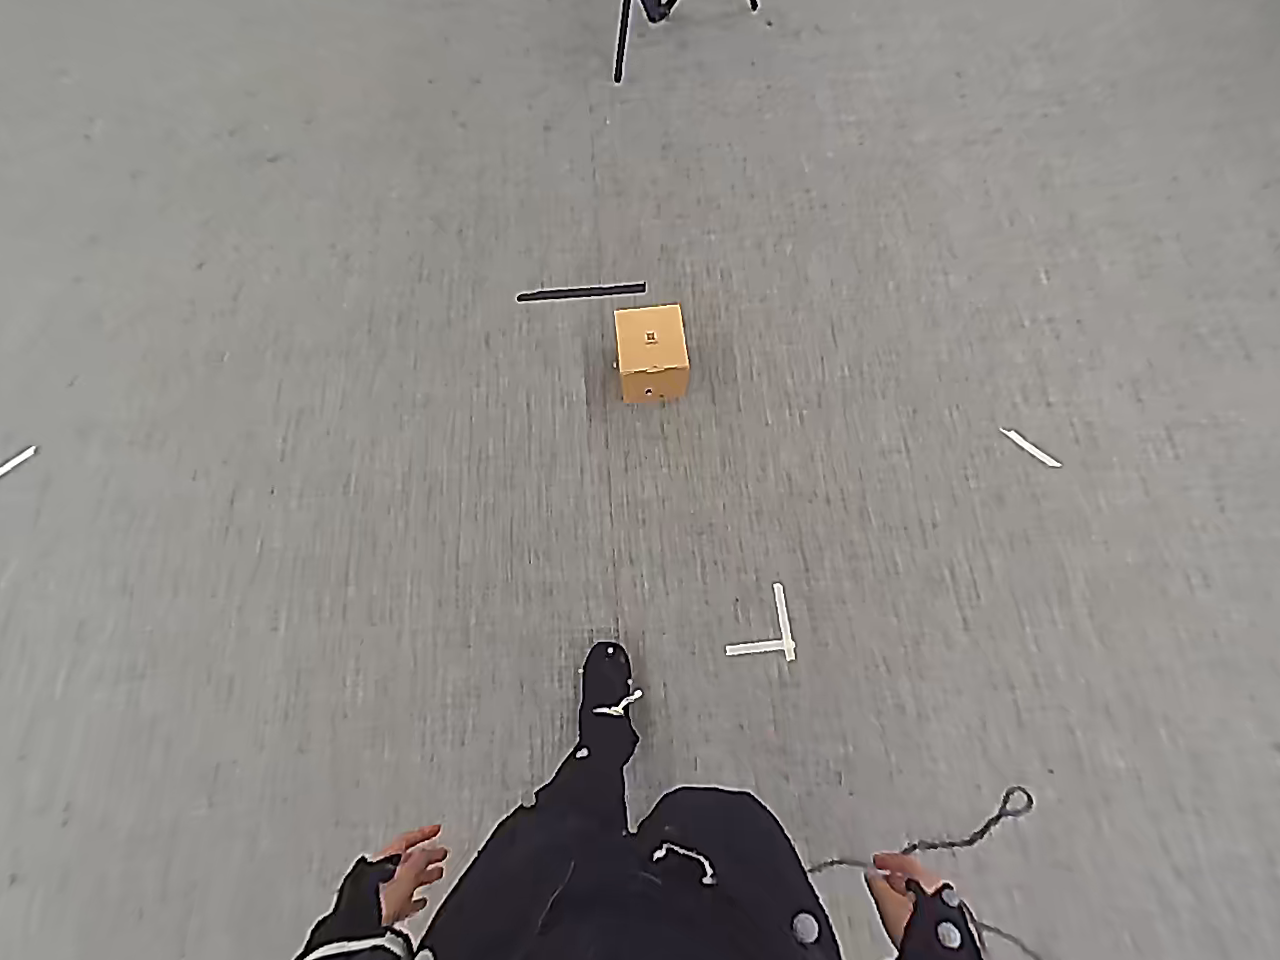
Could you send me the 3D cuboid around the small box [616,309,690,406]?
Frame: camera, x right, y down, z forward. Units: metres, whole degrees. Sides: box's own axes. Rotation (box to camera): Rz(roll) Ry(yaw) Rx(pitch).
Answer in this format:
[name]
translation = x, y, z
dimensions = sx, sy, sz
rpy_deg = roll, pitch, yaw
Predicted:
[small box]
translation = 0.027, -0.309, 1.377
dimensions = 0.168, 0.176, 0.179
rpy_deg = -6, 73, -2
